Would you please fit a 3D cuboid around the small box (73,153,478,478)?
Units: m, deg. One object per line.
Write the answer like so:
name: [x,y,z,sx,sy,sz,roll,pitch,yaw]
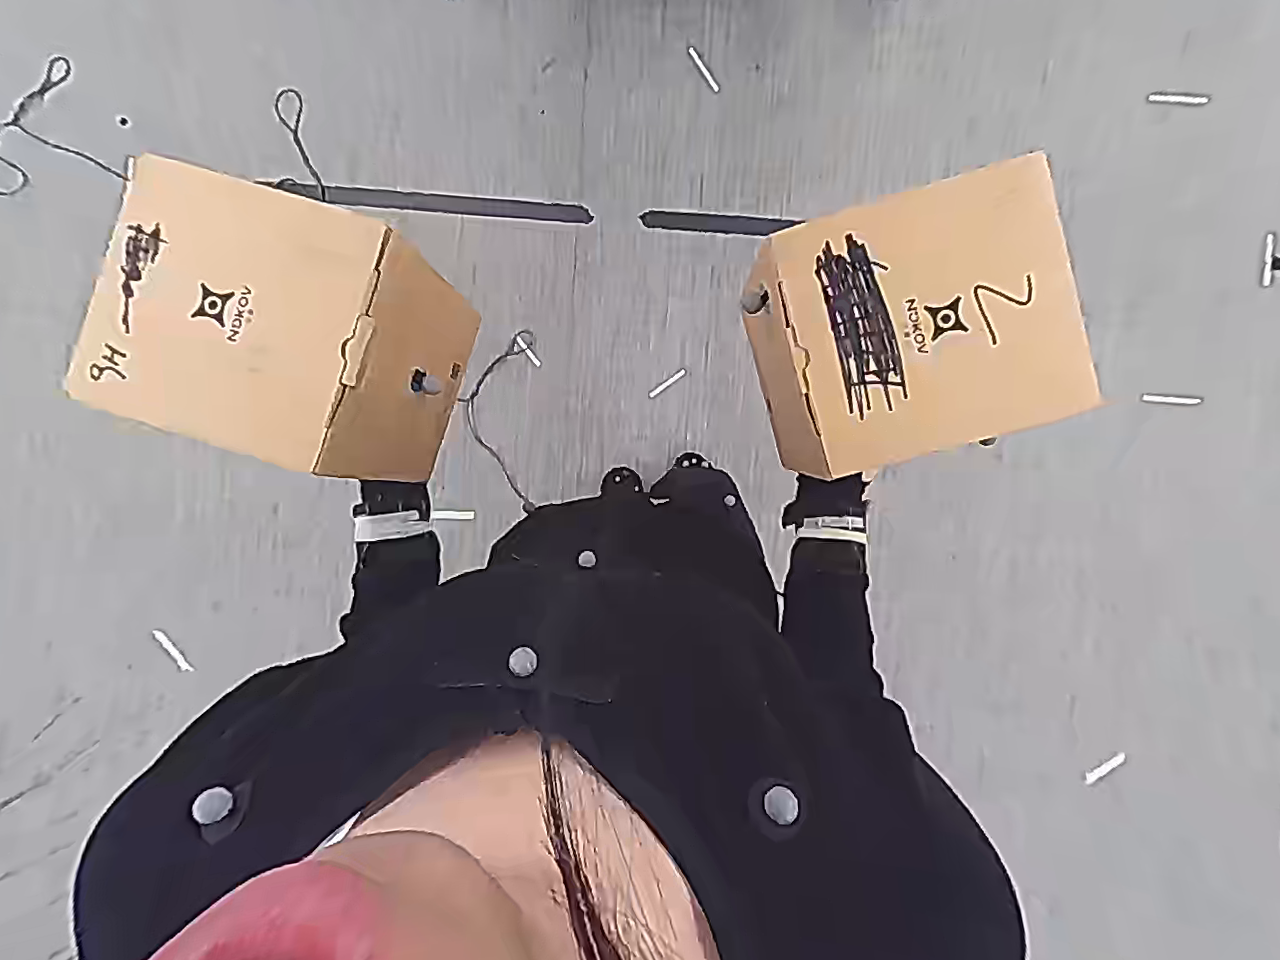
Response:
small box: [-0.249,-0.104,0.419,0.179,0.176,0.168,17,88,2]
